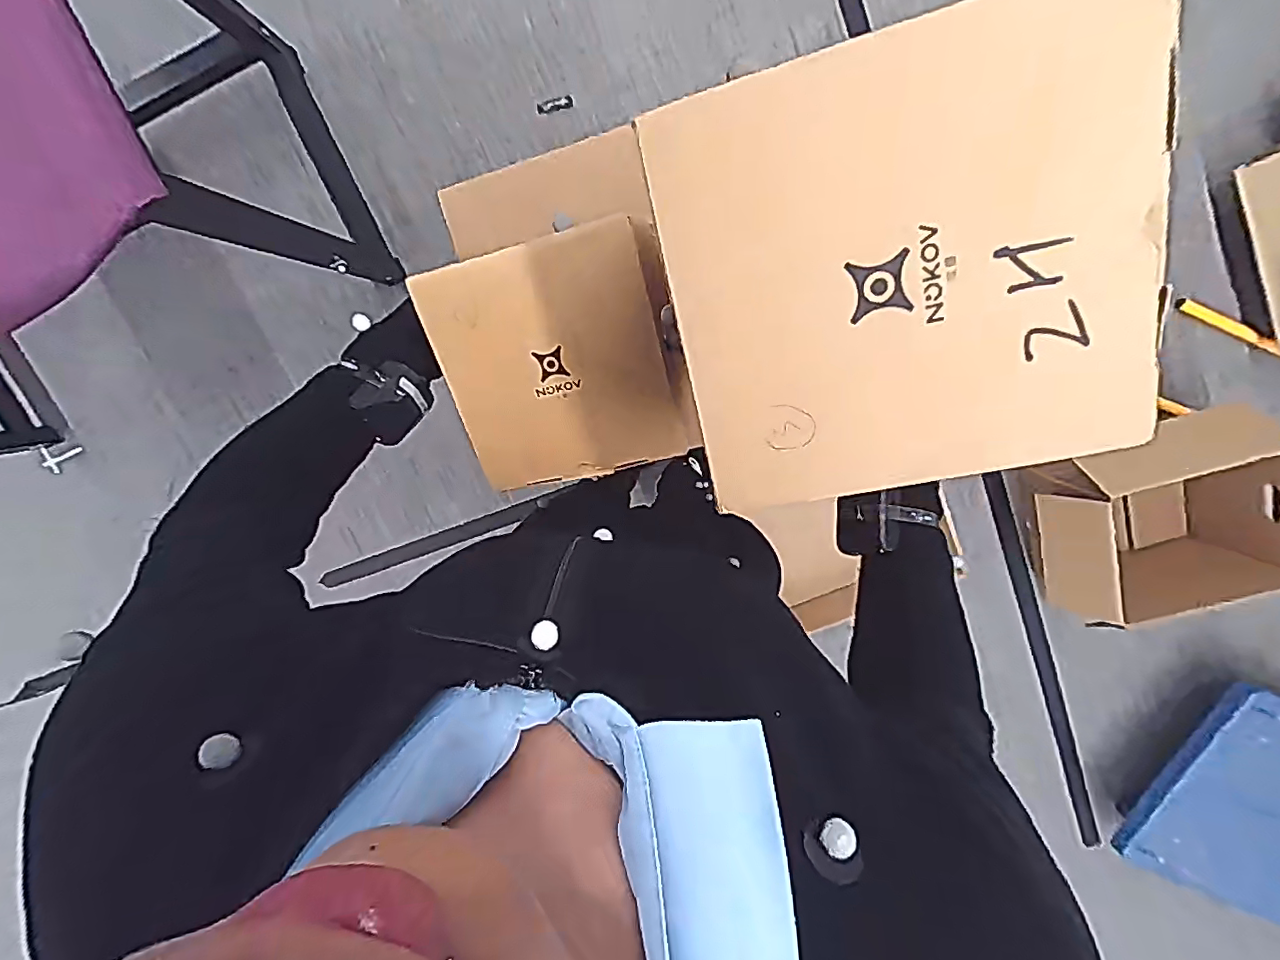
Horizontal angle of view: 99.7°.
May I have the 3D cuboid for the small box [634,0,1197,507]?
[{"bbox_3d":[0.110,-0.103,0.274,0.179,0.176,0.168,-10,109,12],"label":"small box"}]
